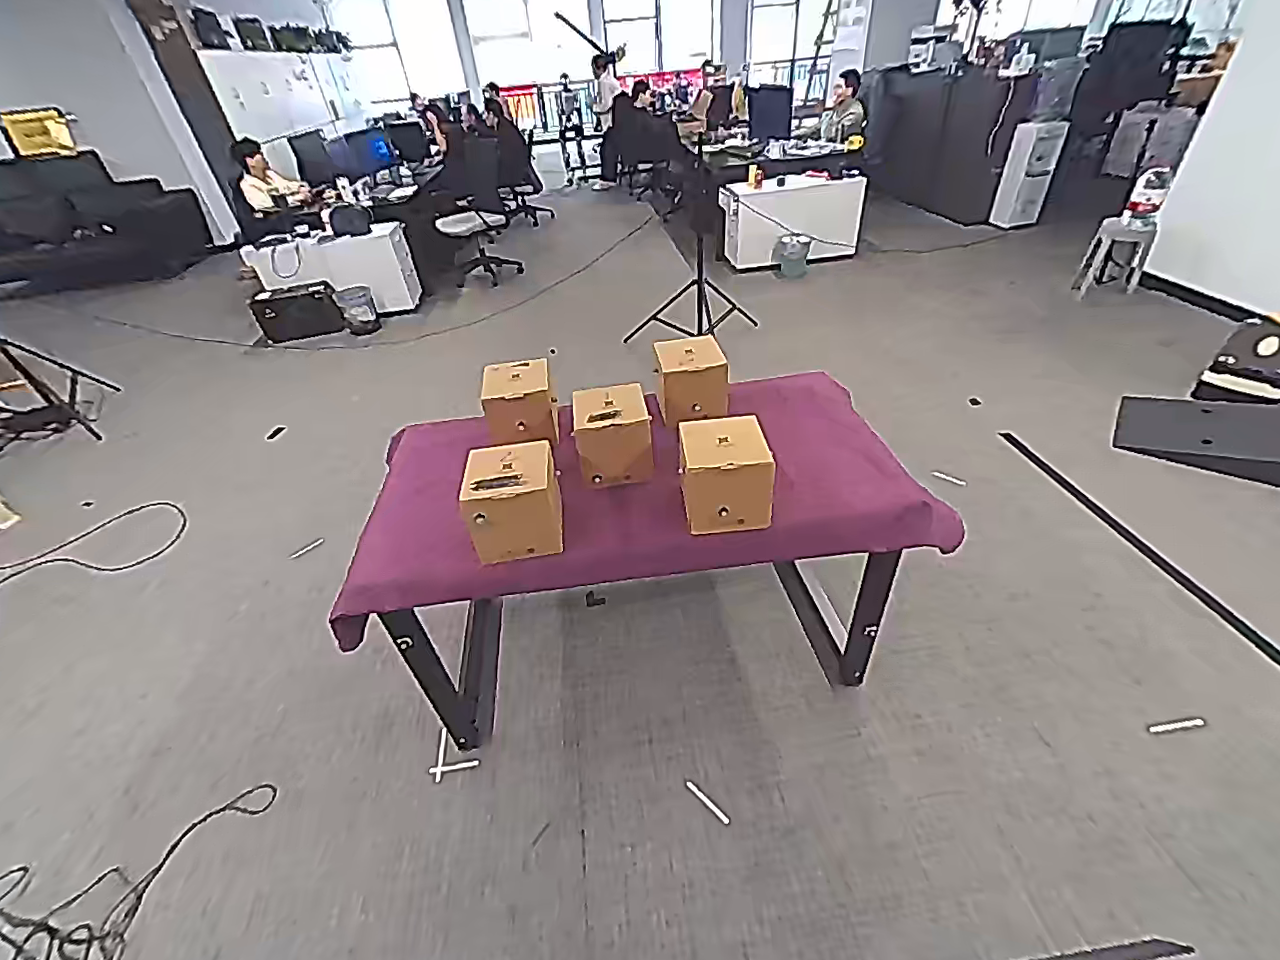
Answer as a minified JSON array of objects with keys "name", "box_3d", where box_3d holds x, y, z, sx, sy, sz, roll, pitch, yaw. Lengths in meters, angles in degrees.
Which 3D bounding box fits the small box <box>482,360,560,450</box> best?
[{"name":"small box","box_3d":[-0.305,-0.190,1.417,0.168,0.176,0.179,-8,41,-4]}]

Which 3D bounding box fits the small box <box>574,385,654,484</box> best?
[{"name":"small box","box_3d":[-0.061,-0.103,1.280,0.168,0.176,0.179,-8,38,-3]}]

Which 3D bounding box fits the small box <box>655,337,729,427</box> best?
[{"name":"small box","box_3d":[0.136,-0.263,1.451,0.168,0.176,0.179,-9,40,-2]}]

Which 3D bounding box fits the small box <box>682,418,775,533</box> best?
[{"name":"small box","box_3d":[0.177,-0.010,1.131,0.168,0.176,0.179,-5,37,1]}]
